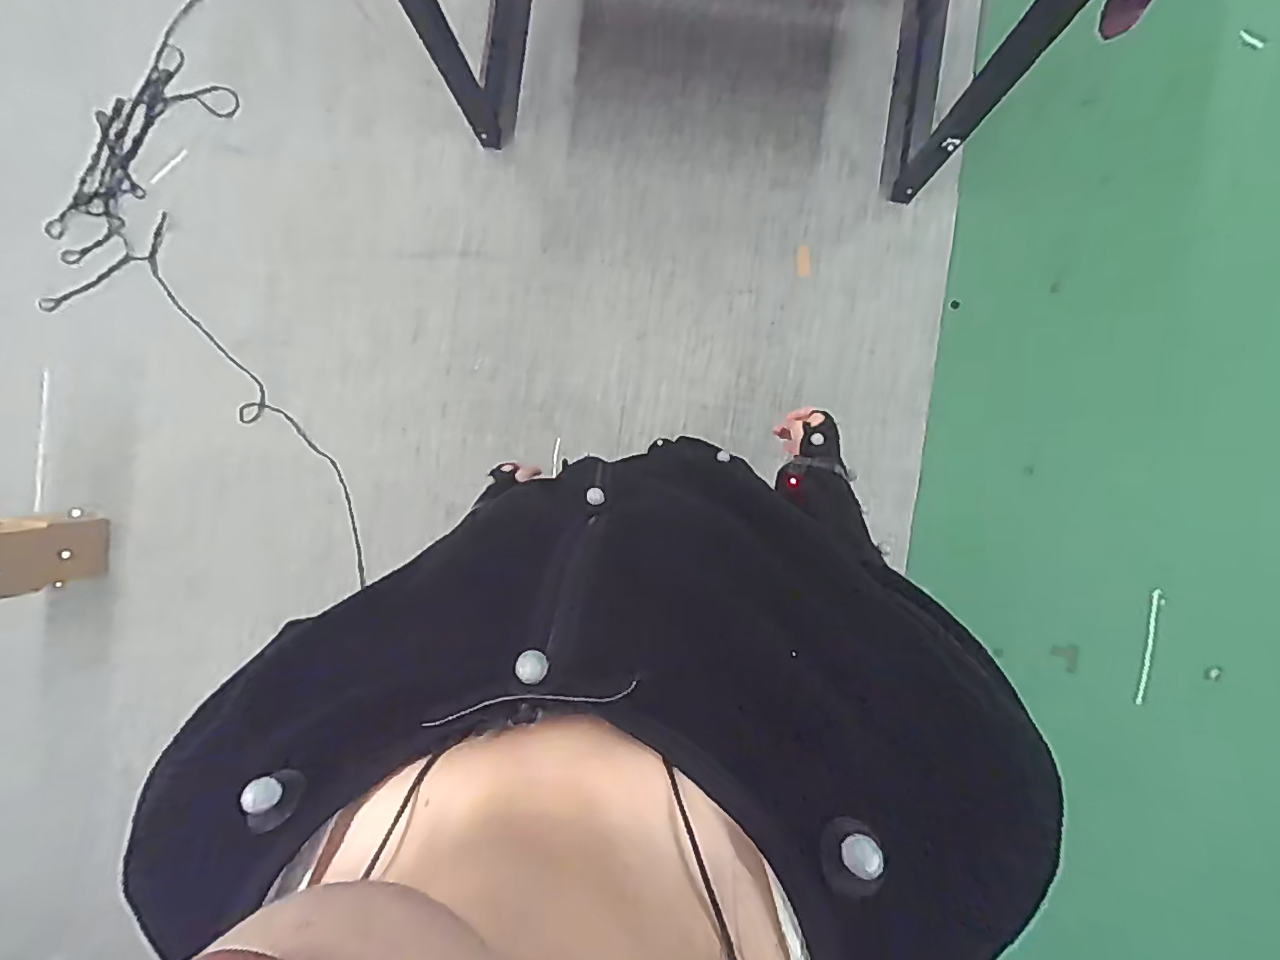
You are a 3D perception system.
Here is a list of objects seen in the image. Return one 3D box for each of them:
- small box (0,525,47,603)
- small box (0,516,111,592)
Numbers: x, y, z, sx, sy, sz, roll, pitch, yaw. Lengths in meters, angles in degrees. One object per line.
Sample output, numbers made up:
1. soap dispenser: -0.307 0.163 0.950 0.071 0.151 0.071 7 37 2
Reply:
1. small box: -1.649 0.215 1.346 0.168 0.176 0.179 6 91 2
2. small box: -1.640 0.202 1.510 0.168 0.176 0.179 6 91 3
